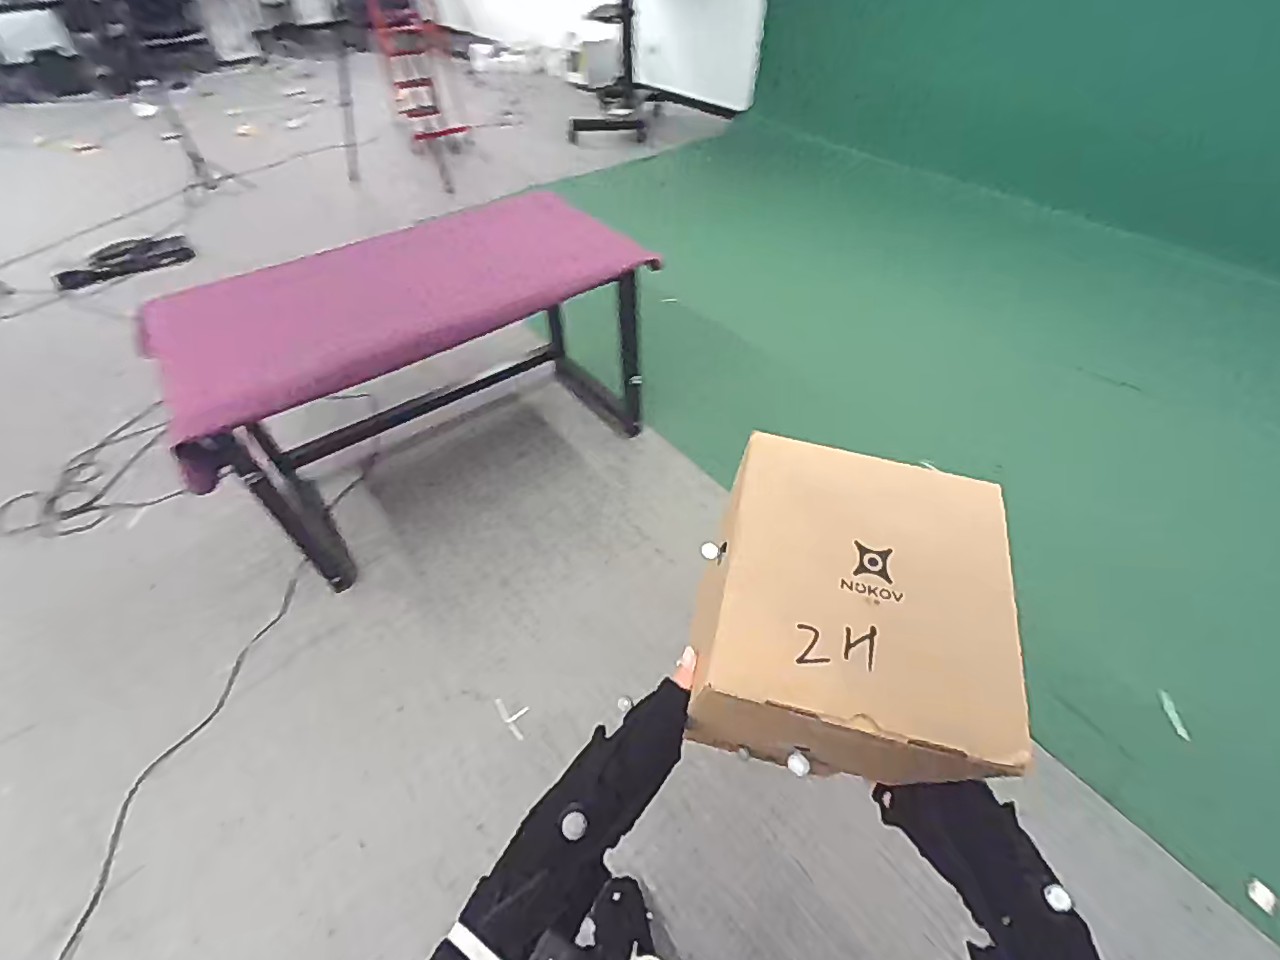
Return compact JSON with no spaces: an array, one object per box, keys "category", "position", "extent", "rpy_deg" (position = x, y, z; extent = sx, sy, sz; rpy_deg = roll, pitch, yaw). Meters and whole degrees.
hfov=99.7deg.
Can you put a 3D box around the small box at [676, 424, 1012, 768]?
[{"category":"small box","position":[0.125,0.091,0.391],"extent":[0.168,0.176,0.179],"rpy_deg":[12,60,5]}]

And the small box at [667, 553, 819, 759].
[{"category":"small box","position":[0.125,0.163,0.540],"extent":[0.168,0.176,0.179],"rpy_deg":[12,60,4]}]
